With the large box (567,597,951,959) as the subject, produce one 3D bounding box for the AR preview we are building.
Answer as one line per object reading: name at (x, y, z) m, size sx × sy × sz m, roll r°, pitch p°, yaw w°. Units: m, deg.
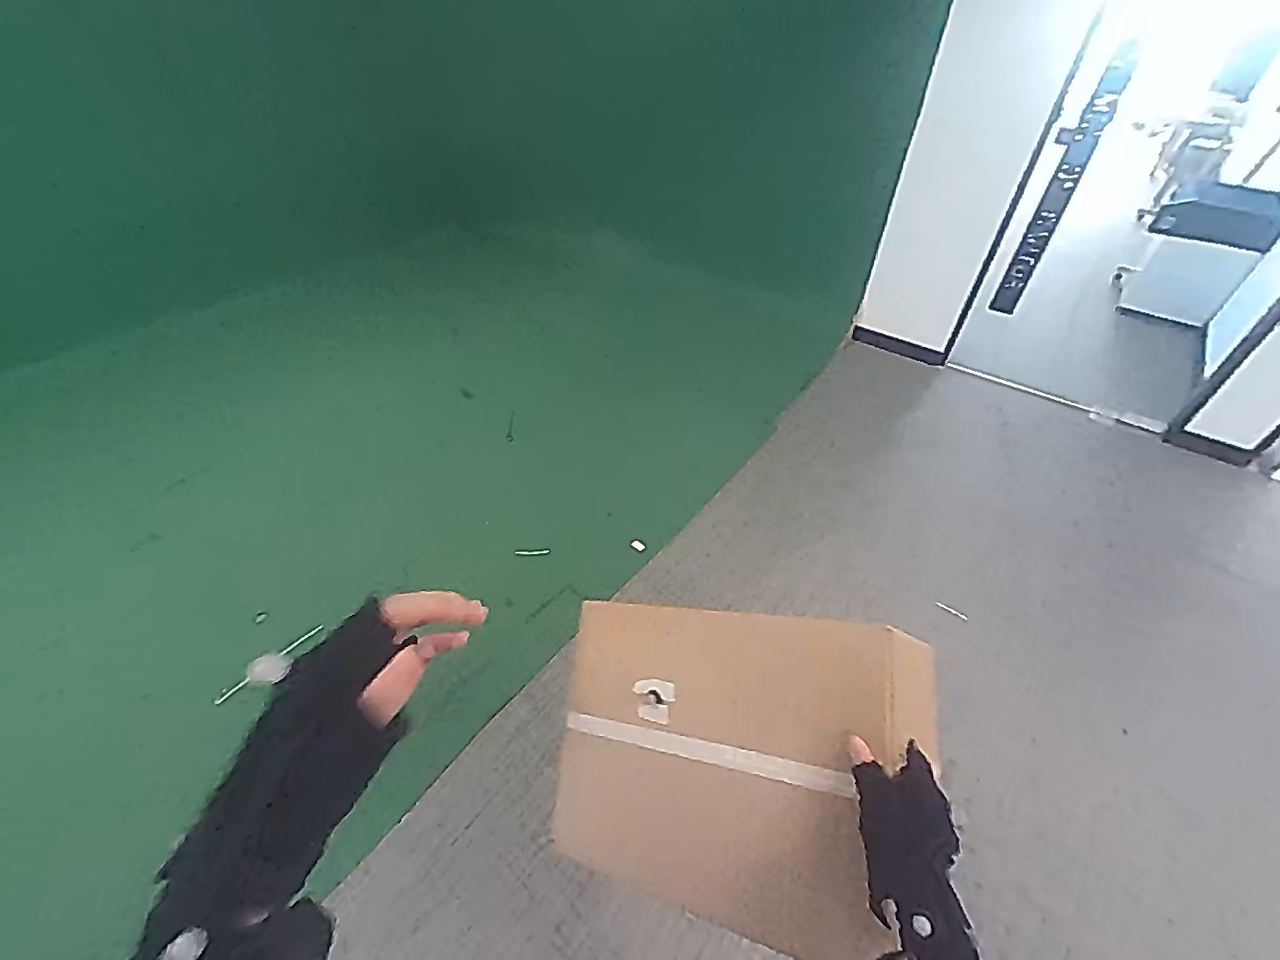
large box at (0.168, 0.341, 0.736) m, size 0.408 × 0.320 × 0.320 m, roll -5°, pitch 69°, yaw 37°
